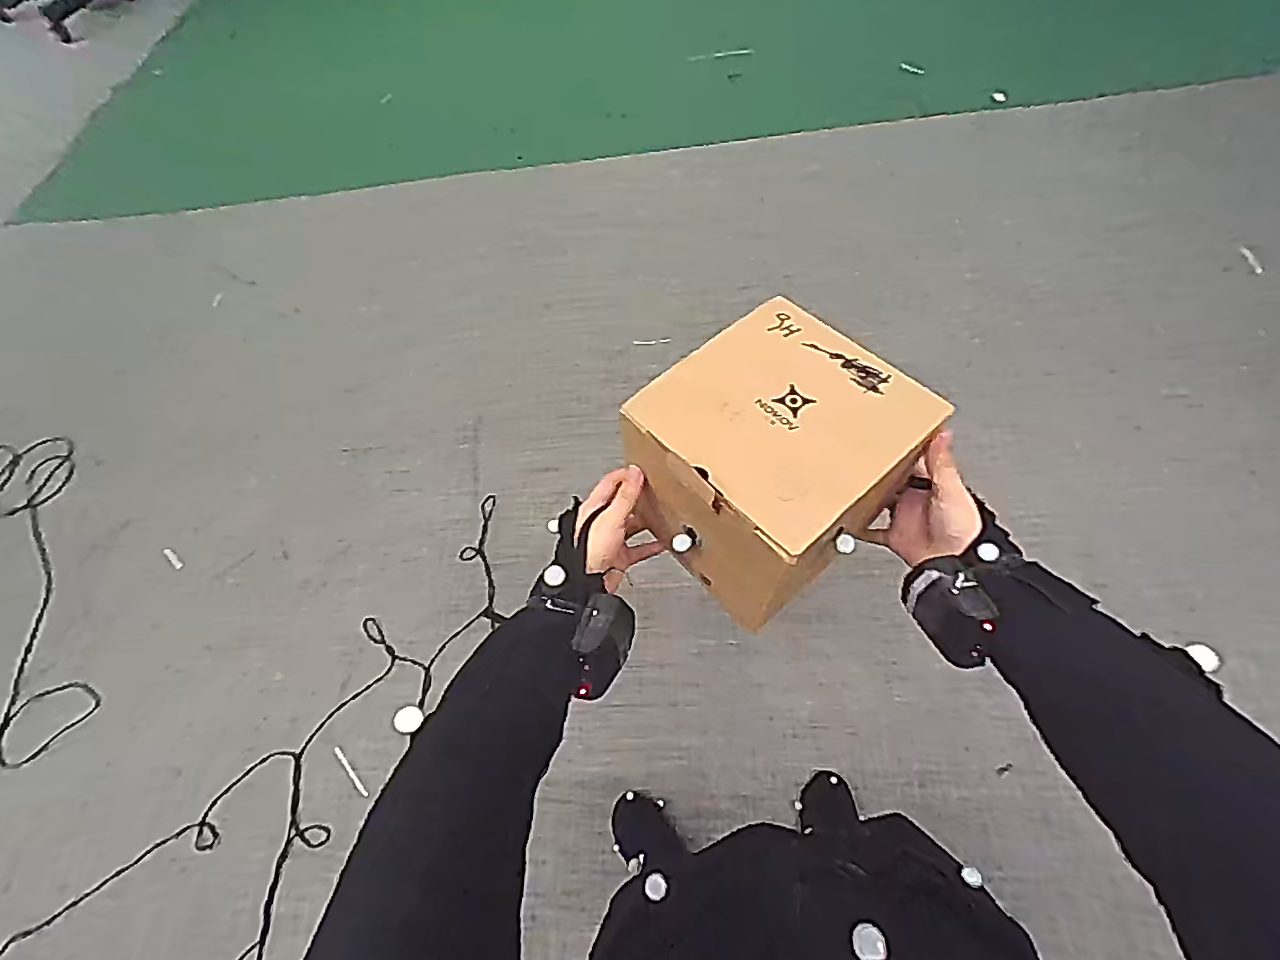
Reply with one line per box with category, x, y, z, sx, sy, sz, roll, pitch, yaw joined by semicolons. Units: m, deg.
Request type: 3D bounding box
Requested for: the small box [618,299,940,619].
small box;0.105;-0.010;0.462;0.179;0.176;0.168;-38;65;-17
